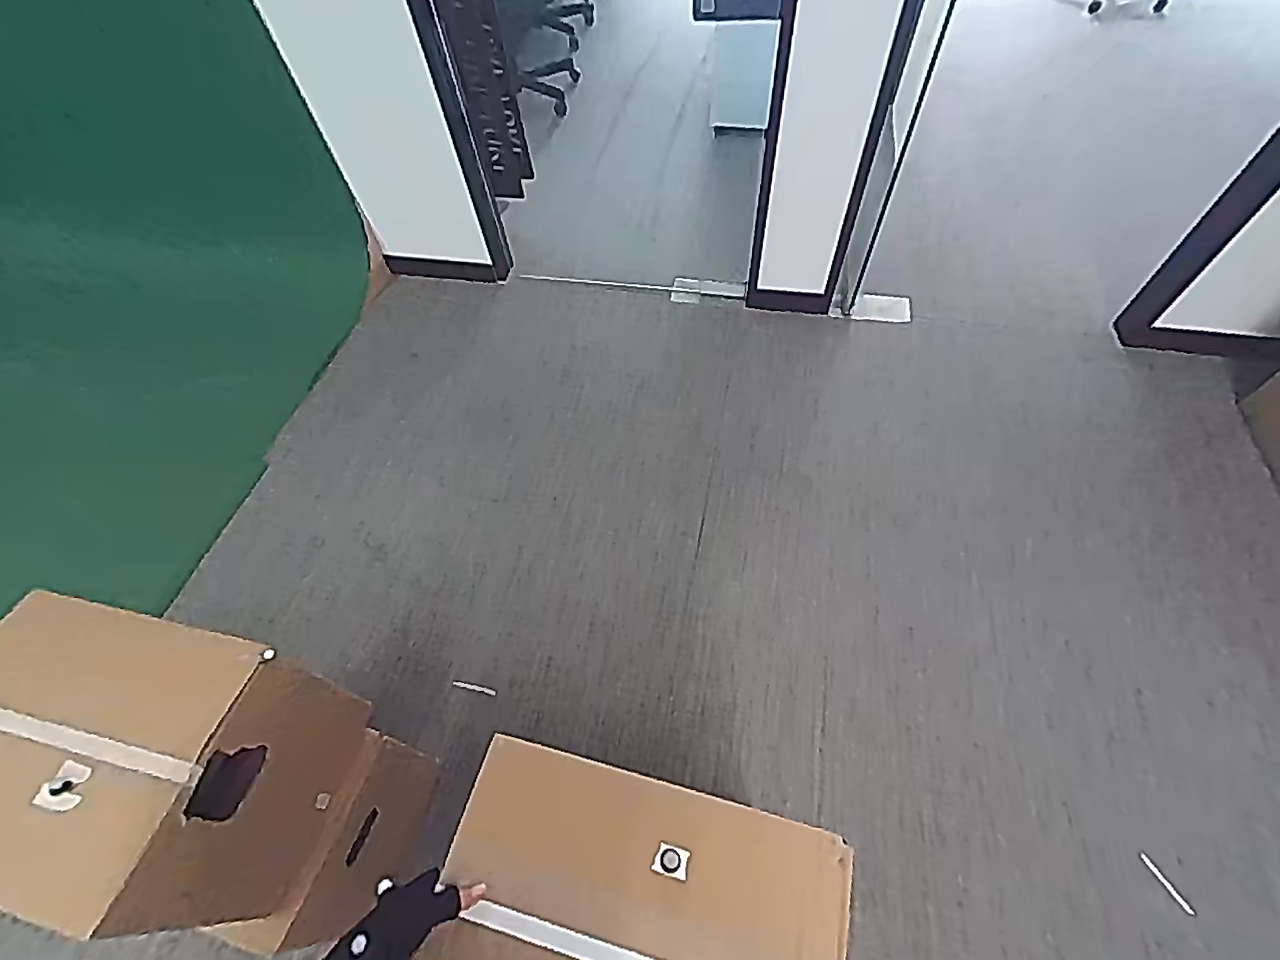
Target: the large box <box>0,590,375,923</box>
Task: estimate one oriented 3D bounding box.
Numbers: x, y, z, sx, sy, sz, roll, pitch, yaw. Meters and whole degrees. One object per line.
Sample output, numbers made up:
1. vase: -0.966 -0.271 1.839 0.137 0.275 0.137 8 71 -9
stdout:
1. large box: -0.701 0.399 0.796 0.408 0.320 0.320 10 55 9
